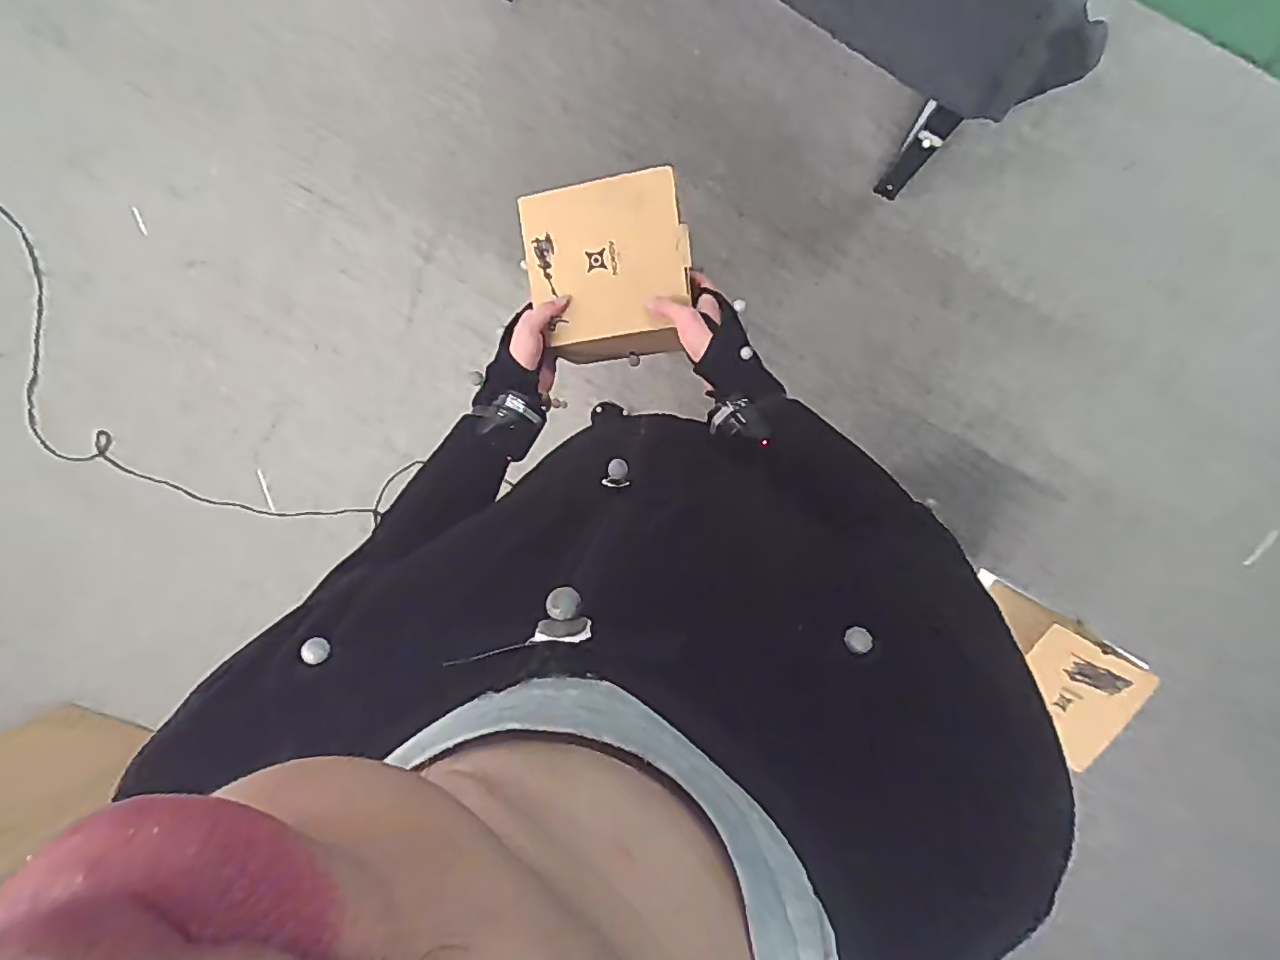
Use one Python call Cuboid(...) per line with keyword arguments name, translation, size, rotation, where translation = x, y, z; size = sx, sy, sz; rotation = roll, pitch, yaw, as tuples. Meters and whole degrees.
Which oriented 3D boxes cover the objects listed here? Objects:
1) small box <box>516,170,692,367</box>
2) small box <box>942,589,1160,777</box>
Cuboid(name="small box", translation=(-0.031, -0.239, 0.655), size=(0.179, 0.176, 0.168), rotation=(-7, 93, 9))
Cuboid(name="small box", translation=(0.607, 0.297, 0.831), size=(0.168, 0.176, 0.179), rotation=(30, 103, 3))
